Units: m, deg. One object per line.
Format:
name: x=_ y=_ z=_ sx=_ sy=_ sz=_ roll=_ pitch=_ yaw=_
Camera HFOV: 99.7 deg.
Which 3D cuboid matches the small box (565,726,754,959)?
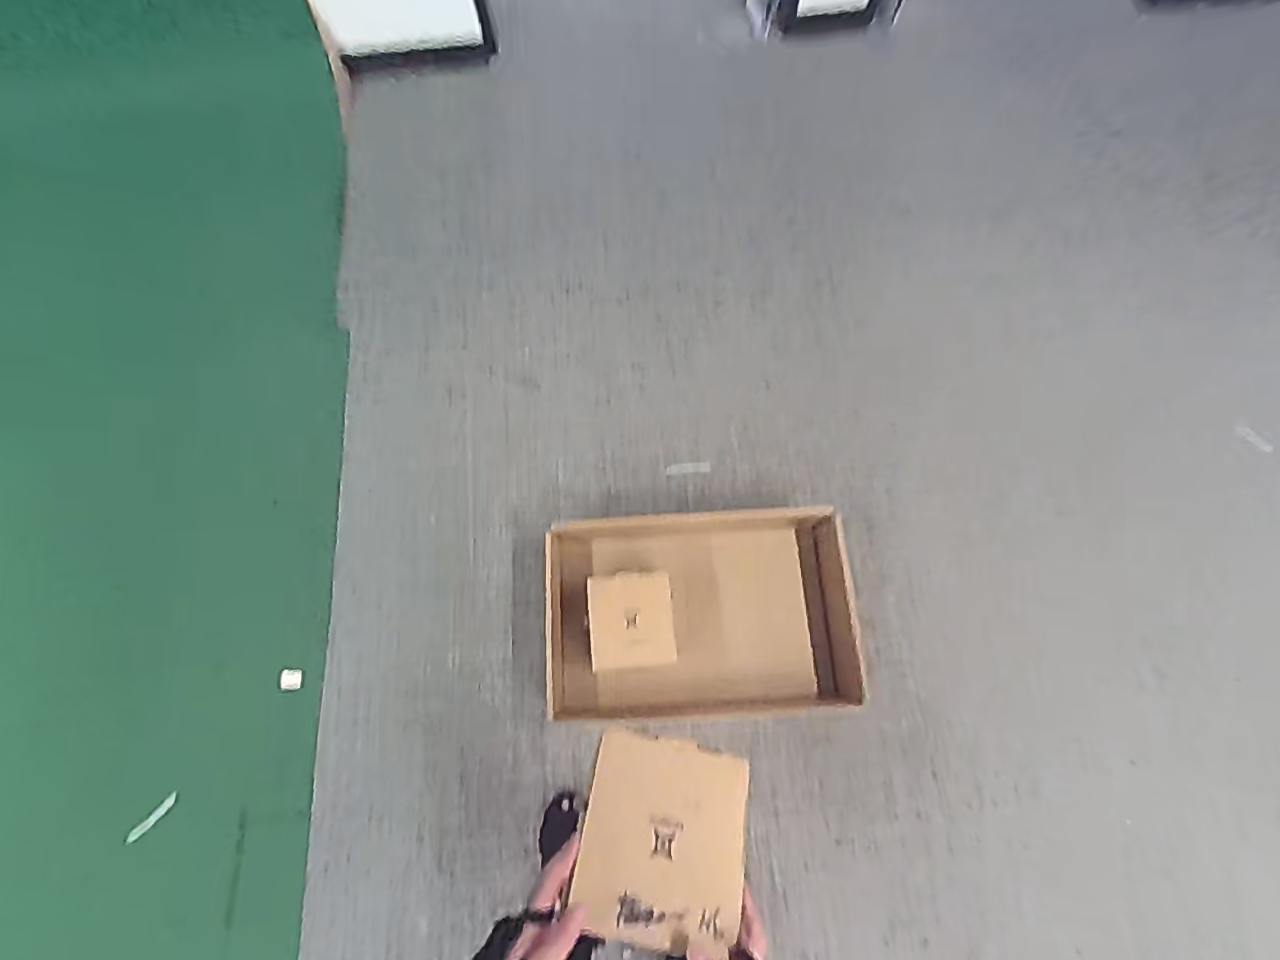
small box: x=0.017 y=0.397 z=0.592 sx=0.168 sy=0.176 sz=0.179 roll=13 pitch=53 yaw=0
